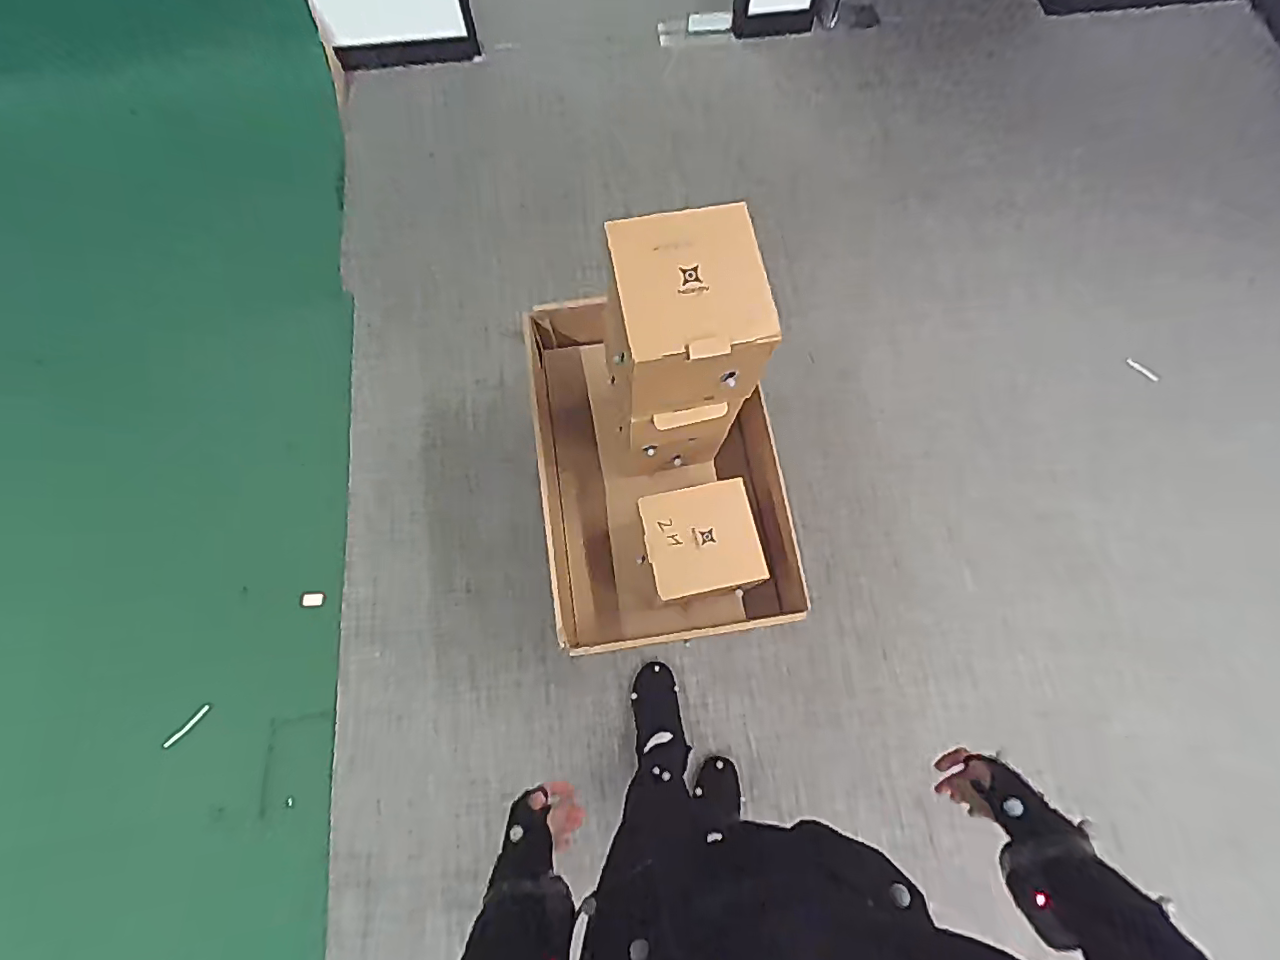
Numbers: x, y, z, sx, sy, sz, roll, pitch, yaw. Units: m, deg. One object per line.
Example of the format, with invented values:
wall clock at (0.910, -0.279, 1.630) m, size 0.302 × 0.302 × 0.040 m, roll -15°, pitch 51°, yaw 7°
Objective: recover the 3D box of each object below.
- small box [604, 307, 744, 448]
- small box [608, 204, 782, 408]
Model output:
small box at (0.046, -0.158, 0.823) m, size 0.168 × 0.176 × 0.179 m, roll -13°, pitch 76°, yaw -5°
small box at (0.057, -0.199, 0.666) m, size 0.168 × 0.176 × 0.179 m, roll -10°, pitch 76°, yaw -4°
